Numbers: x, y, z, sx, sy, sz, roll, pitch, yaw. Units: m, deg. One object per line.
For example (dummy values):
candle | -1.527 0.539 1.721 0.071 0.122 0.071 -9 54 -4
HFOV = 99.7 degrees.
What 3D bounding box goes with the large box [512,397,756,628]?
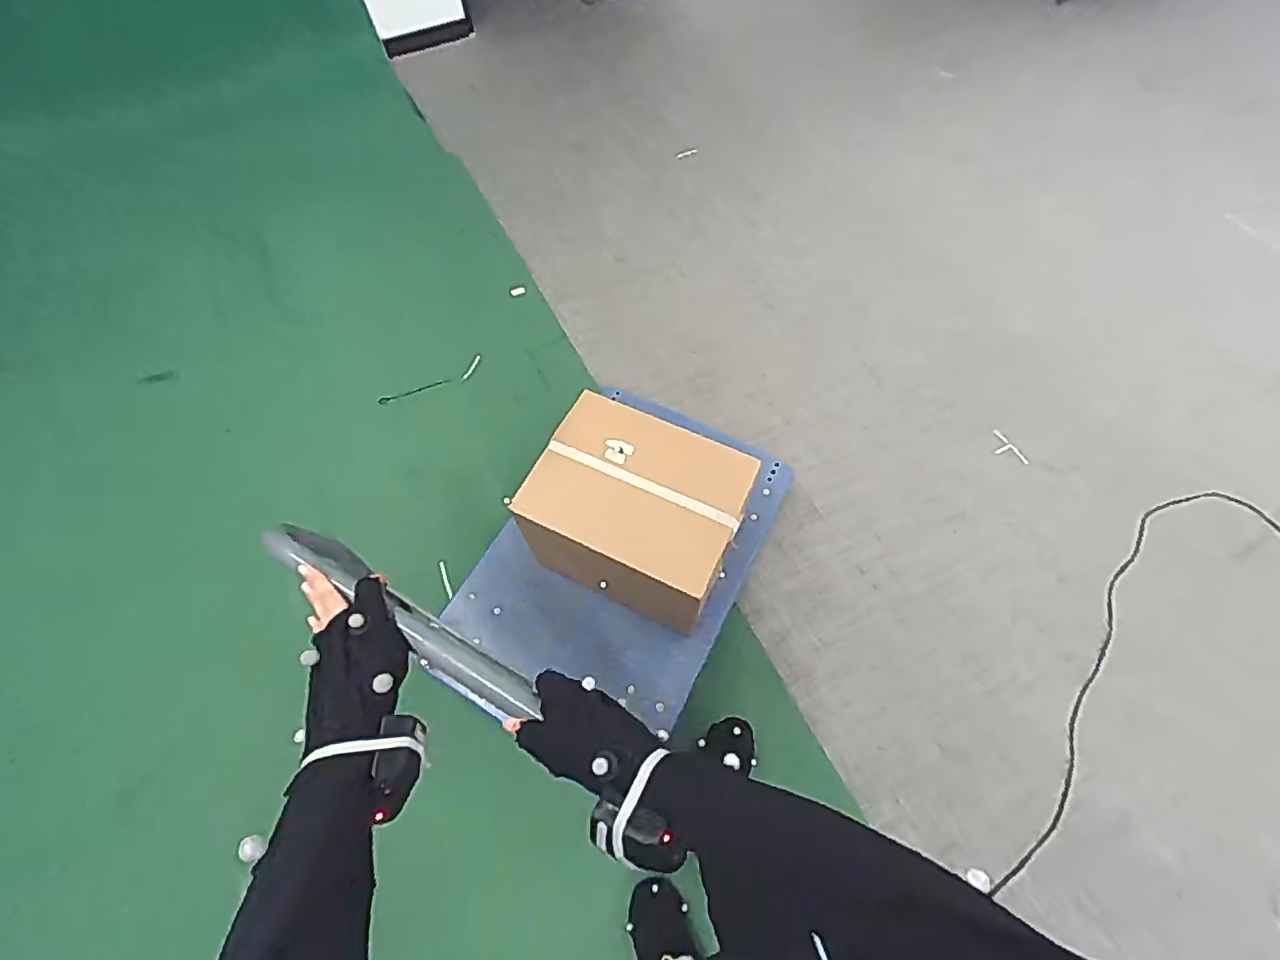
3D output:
large box | -0.001 0.081 1.195 0.408 0.320 0.320 23 65 13
